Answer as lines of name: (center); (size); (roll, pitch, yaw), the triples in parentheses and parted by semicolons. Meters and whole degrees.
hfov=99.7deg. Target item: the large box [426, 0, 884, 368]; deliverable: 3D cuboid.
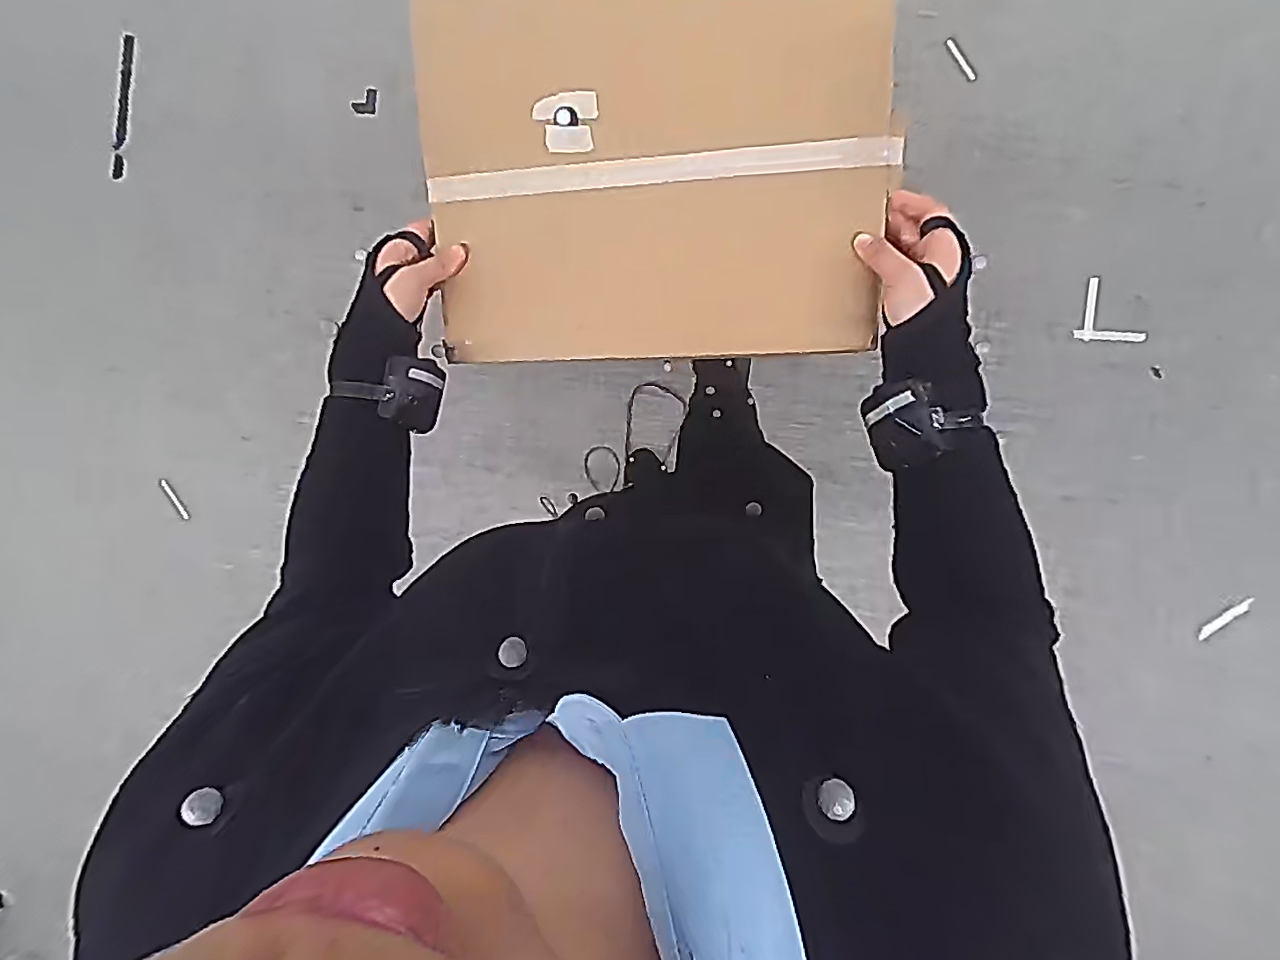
large box: (0.032, -0.299, 0.629); (0.408, 0.320, 0.320); (0, 101, 10)
